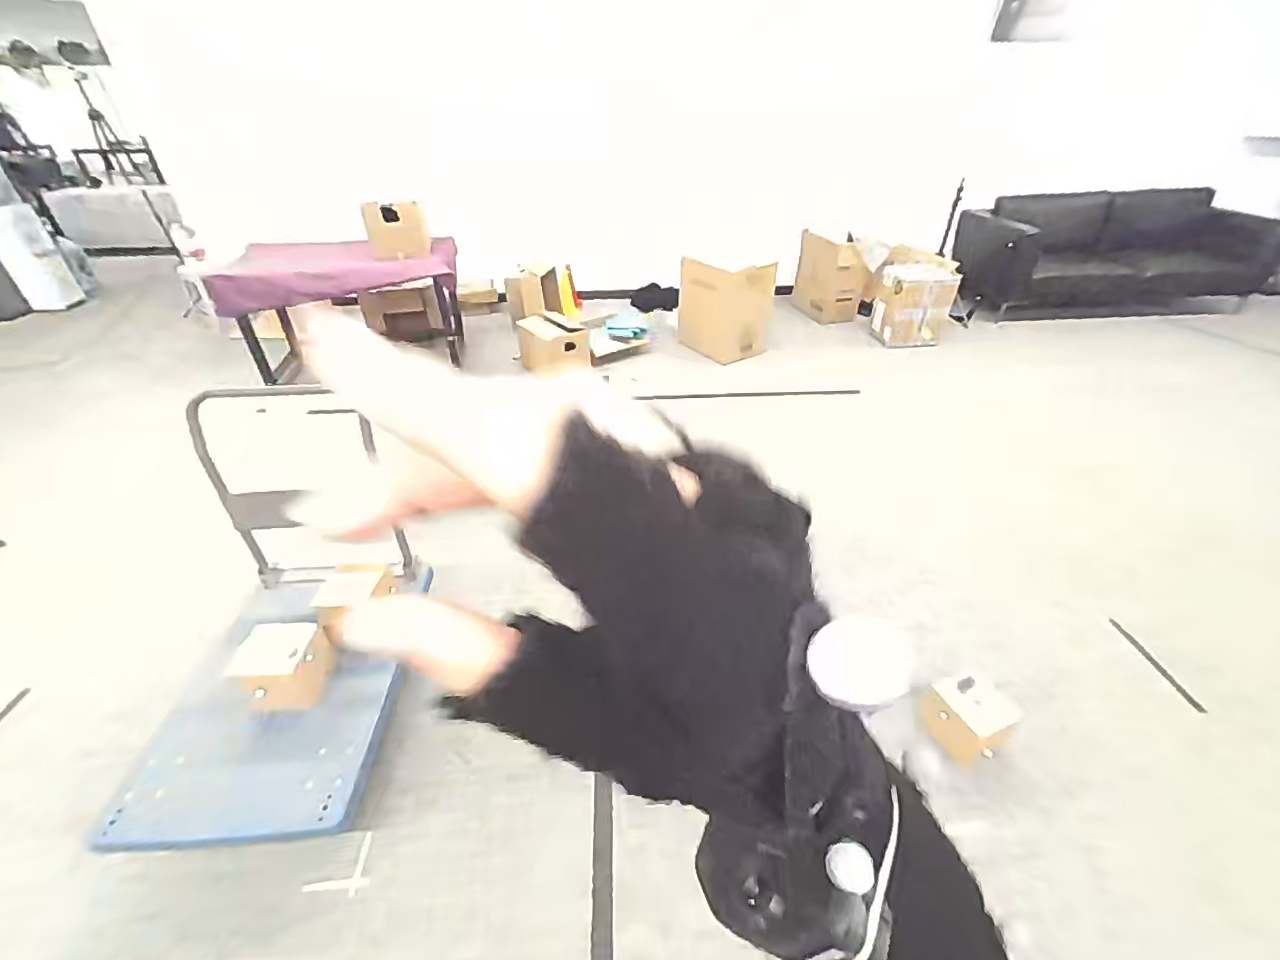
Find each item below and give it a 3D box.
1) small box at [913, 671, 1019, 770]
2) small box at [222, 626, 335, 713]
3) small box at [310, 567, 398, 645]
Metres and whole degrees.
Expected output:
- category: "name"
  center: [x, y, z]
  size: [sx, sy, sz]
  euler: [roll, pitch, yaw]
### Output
- category: "small box"
  center: [0.935, 0.699, 1.571]
  size: [0.168, 0.176, 0.179]
  euler: [-14, 38, -18]
- category: "small box"
  center: [-0.983, 0.523, 1.489]
  size: [0.179, 0.176, 0.168]
  euler: [-2, 37, -1]
- category: "small box"
  center: [-0.874, 0.389, 1.678]
  size: [0.168, 0.176, 0.179]
  euler: [-1, 37, 2]
